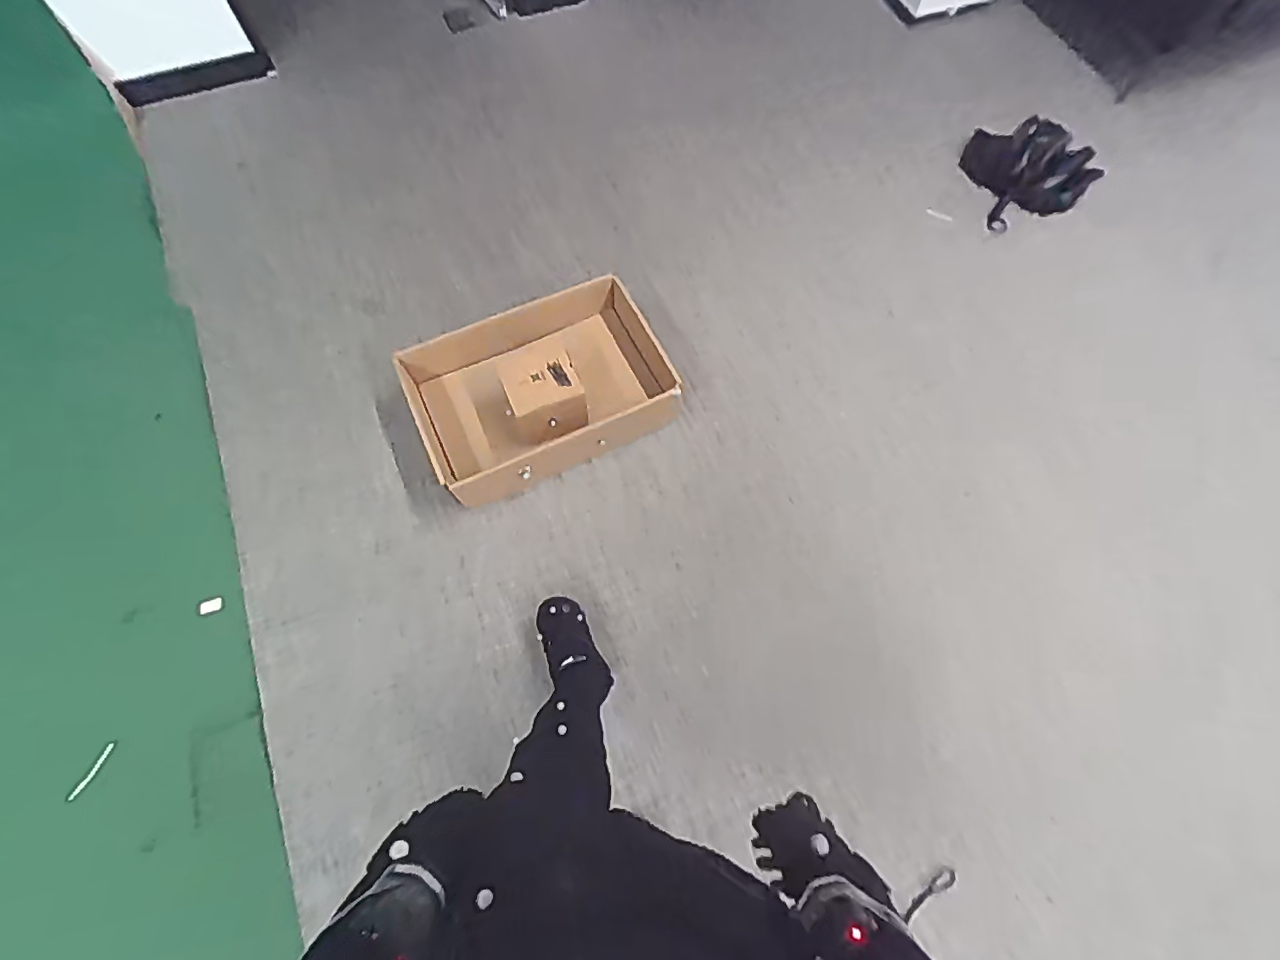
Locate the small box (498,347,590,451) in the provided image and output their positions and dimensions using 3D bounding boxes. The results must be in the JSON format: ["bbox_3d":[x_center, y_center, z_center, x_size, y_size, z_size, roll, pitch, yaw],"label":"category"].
[{"bbox_3d":[-0.237,-0.200,1.372,0.179,0.176,0.168,-24,71,-12],"label":"small box"}]
